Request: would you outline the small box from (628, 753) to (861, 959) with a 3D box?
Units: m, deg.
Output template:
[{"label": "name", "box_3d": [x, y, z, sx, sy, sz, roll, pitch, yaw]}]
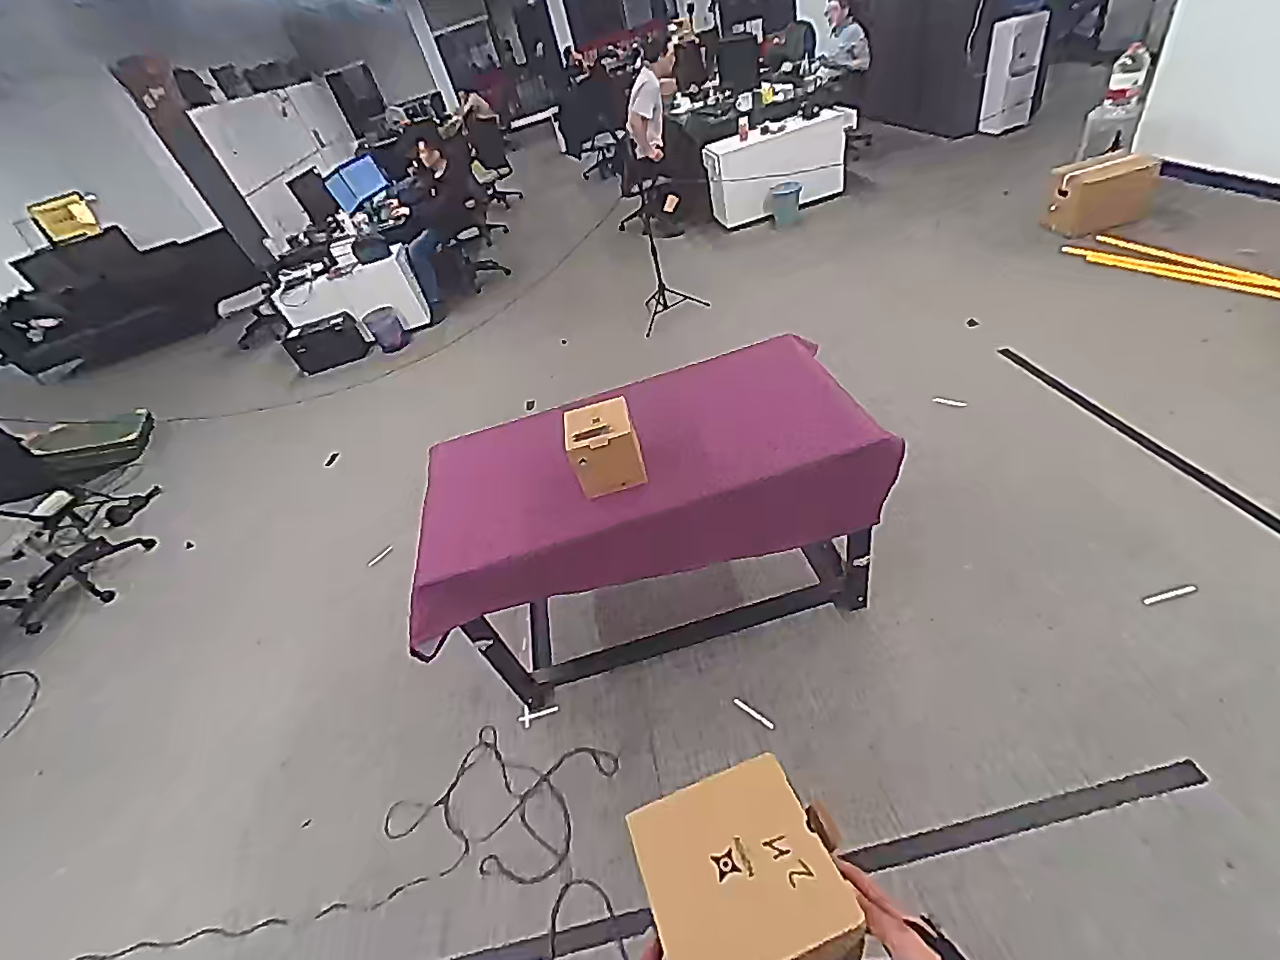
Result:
[{"label": "small box", "box_3d": [0.104, 0.431, 0.559, 0.179, 0.176, 0.168, -17, 33, -10]}]
